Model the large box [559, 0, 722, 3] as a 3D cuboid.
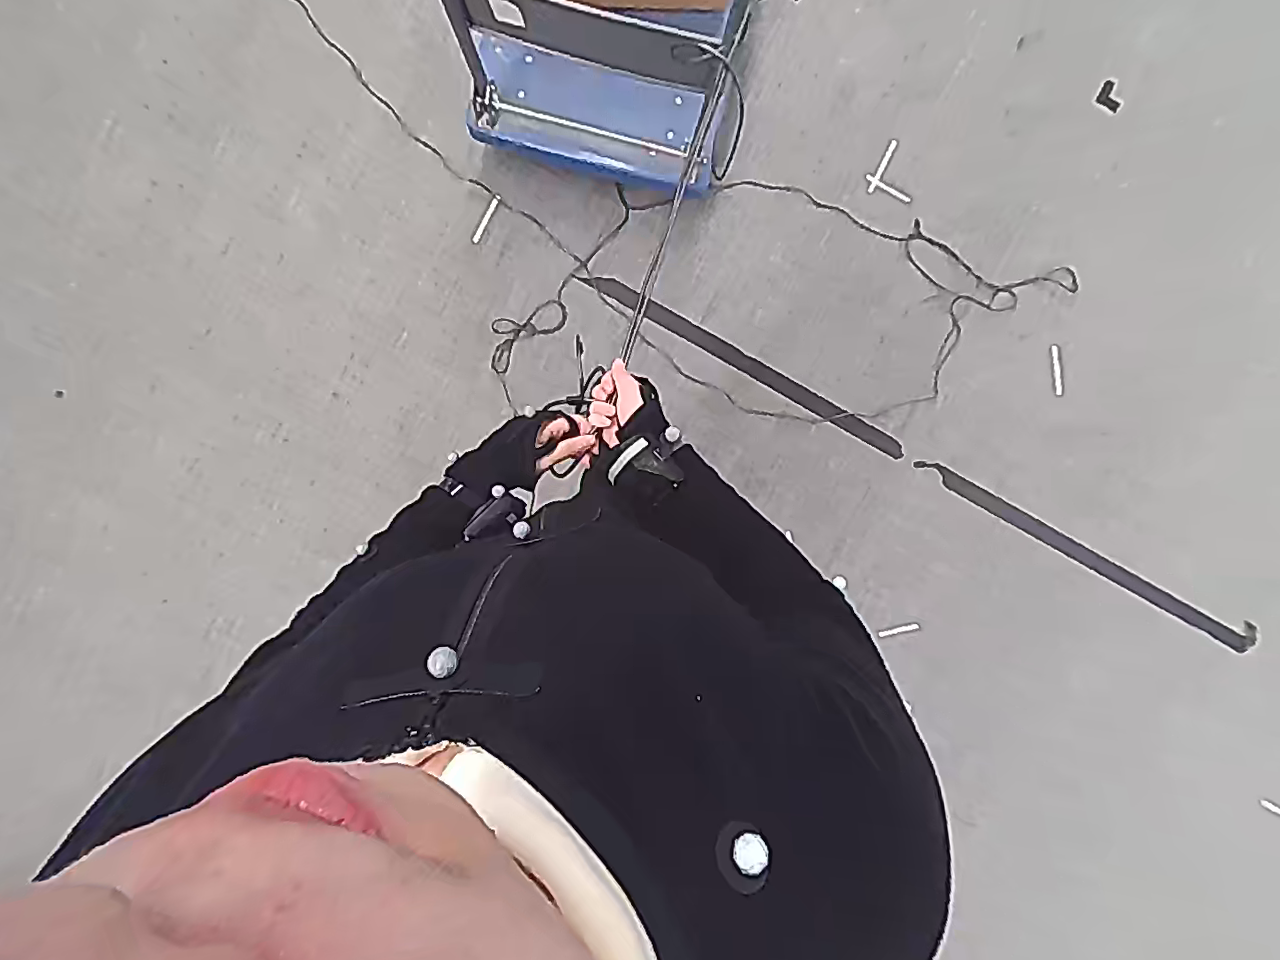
[{"bbox_3d":[-0.003,-1.220,1.065,0.408,0.320,0.320,-1,95,-4],"label":"large box"}]
